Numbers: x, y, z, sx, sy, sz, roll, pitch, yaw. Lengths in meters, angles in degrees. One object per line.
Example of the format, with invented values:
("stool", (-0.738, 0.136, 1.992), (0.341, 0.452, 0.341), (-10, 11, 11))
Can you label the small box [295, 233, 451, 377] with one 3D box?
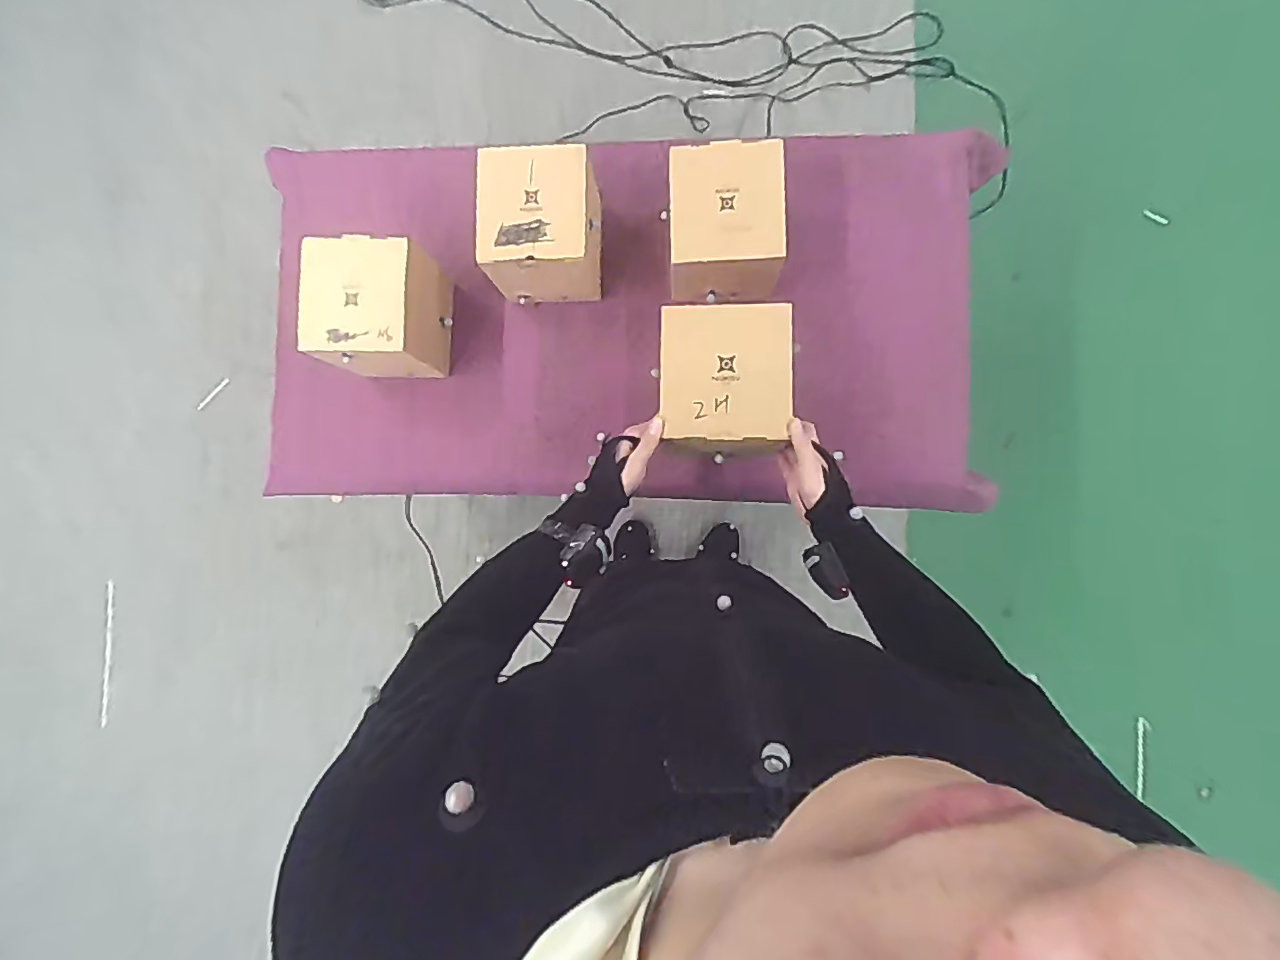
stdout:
("small box", (-0.422, -0.277, 0.881), (0.168, 0.176, 0.179), (2, 87, 5))

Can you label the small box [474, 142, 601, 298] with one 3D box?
("small box", (-0.155, -0.405, 0.871), (0.168, 0.176, 0.179), (0, 86, 4))

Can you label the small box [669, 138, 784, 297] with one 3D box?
("small box", (0.129, -0.399, 0.853), (0.168, 0.176, 0.179), (0, 88, 5))

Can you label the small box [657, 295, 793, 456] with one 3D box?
("small box", (0.112, -0.135, 0.743), (0.168, 0.176, 0.179), (1, 84, 6))
